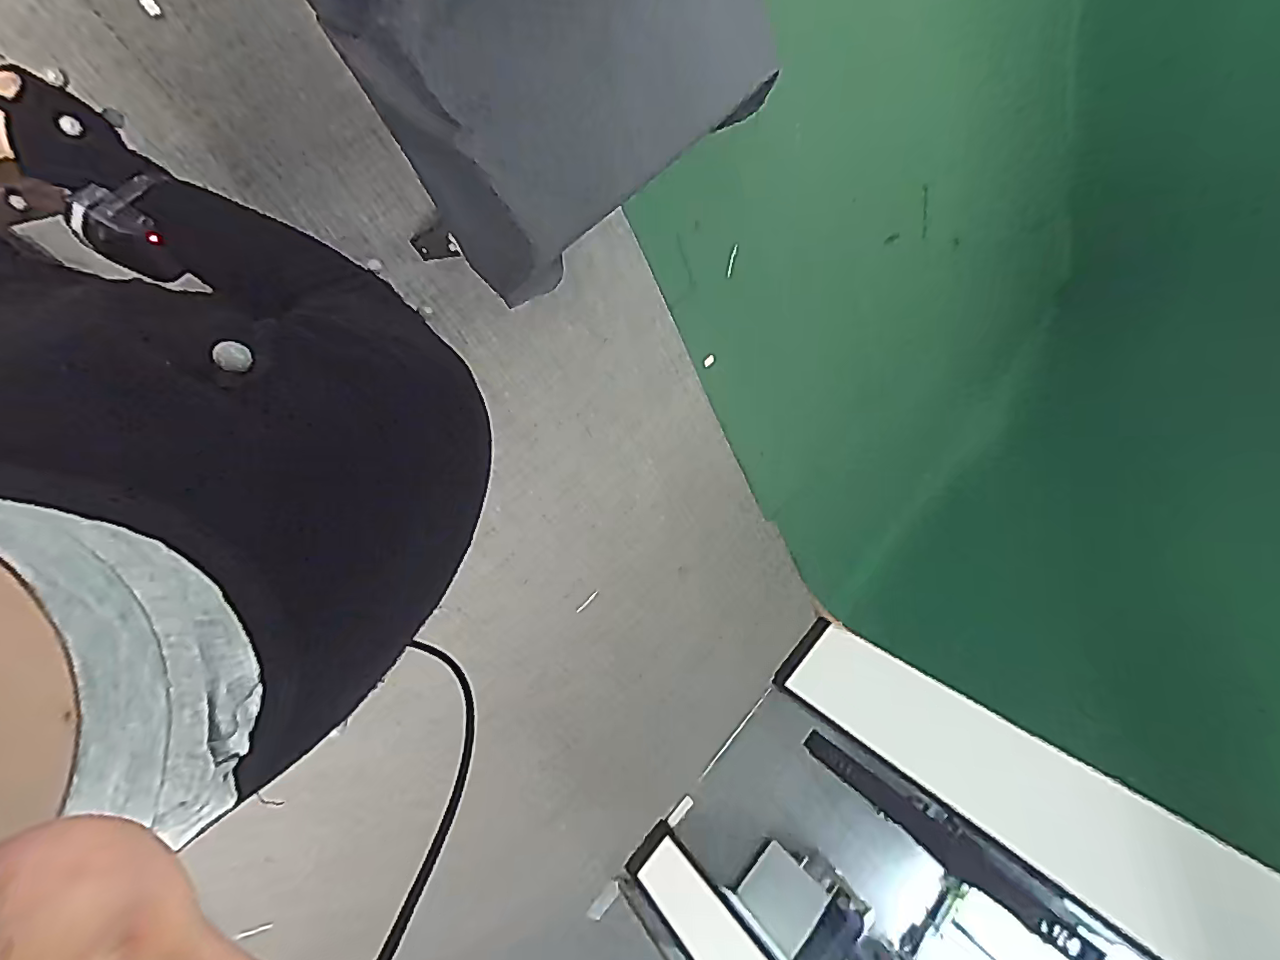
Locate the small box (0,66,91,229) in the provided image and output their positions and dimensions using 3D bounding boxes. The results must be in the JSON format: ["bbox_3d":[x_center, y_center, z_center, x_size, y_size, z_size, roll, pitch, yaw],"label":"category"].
[{"bbox_3d":[-0.644,-0.320,0.465,0.168,0.176,0.179,-34,112,-25],"label":"small box"}]
